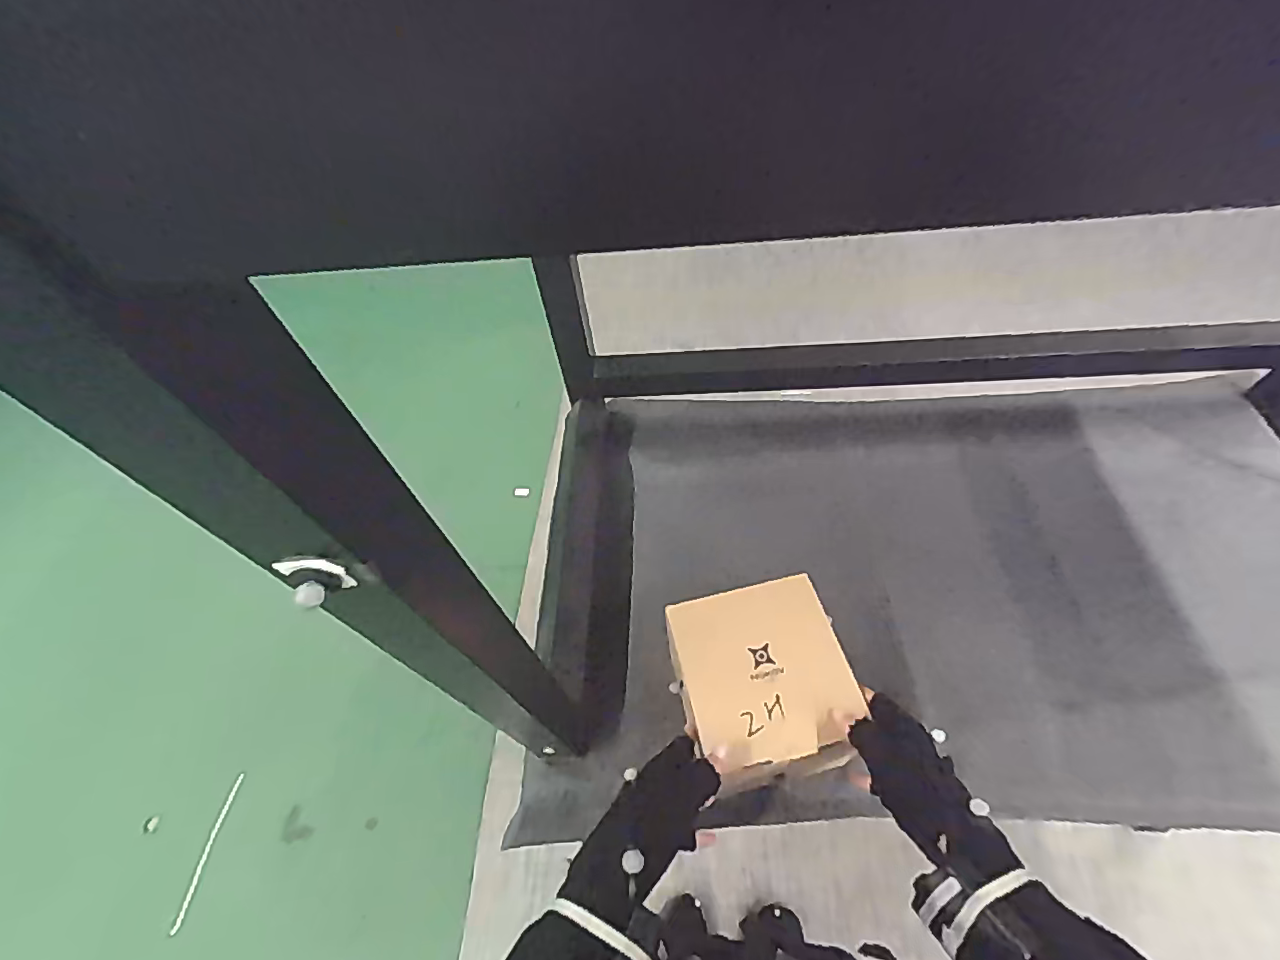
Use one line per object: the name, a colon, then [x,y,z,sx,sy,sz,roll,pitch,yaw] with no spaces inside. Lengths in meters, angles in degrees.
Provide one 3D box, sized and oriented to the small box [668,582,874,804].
small box: [0.131,0.245,0.617,0.168,0.176,0.179,-13,53,-3]
